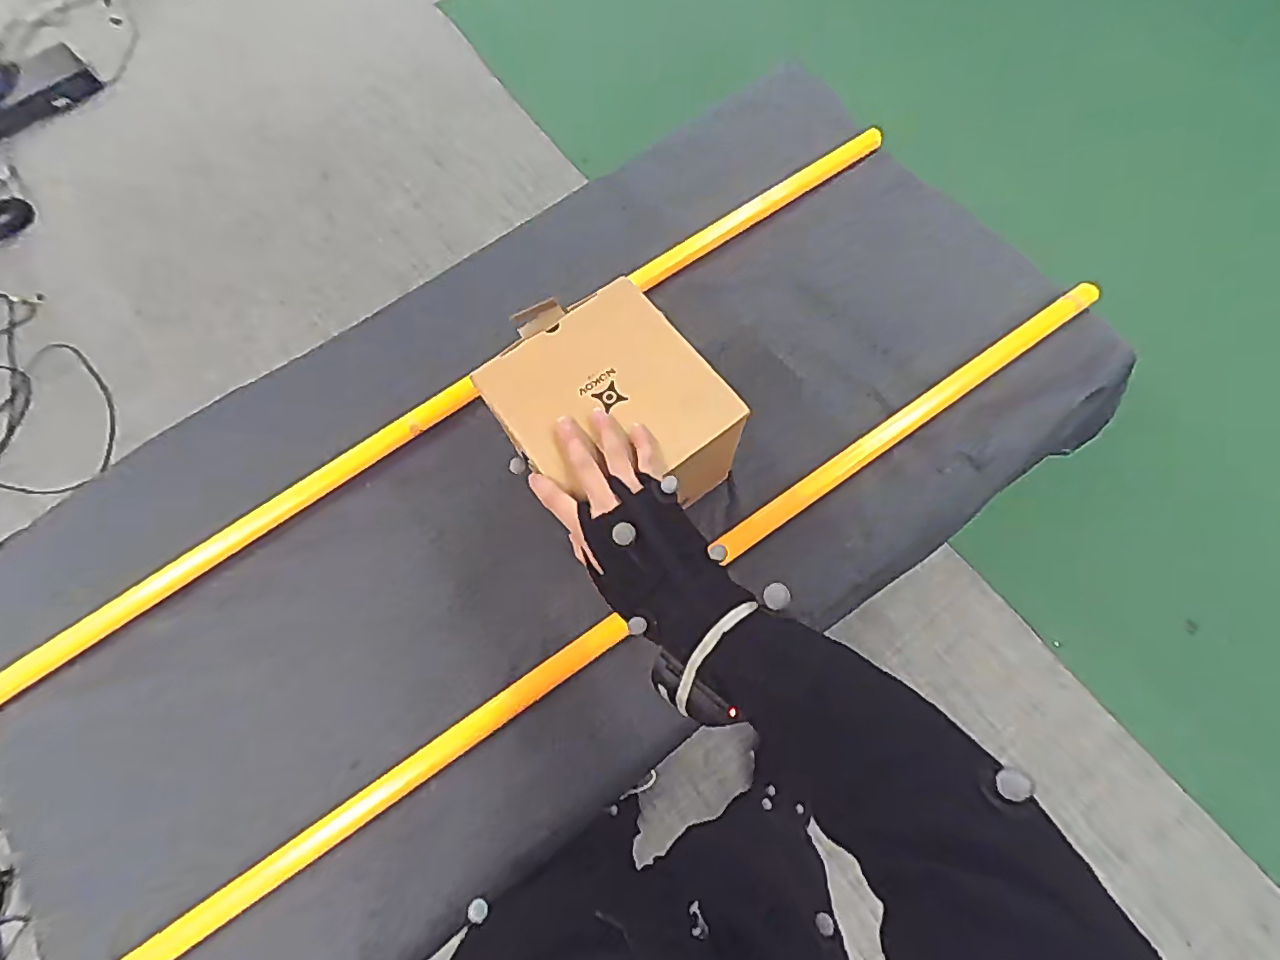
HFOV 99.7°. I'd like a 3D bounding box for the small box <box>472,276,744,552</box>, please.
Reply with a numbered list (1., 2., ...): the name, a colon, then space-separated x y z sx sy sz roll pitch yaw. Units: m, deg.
1. small box: -0.024 -0.047 0.522 0.168 0.176 0.179 -36 72 -9
